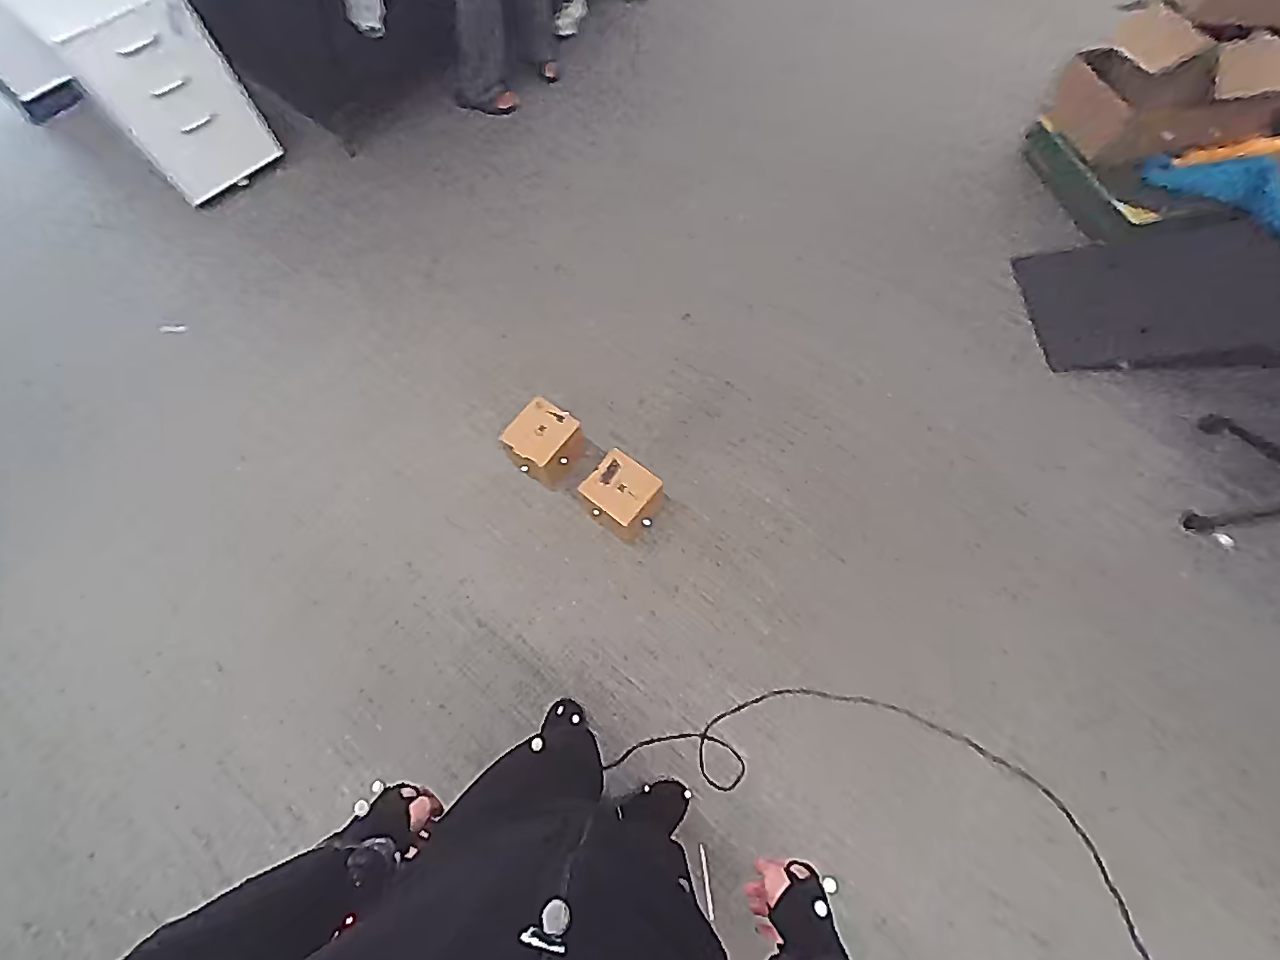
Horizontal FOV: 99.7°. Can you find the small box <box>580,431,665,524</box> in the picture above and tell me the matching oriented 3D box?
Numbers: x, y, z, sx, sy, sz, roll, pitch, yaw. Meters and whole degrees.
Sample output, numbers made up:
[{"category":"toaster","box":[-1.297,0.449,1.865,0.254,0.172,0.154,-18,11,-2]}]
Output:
[{"category":"small box","box":[-0.045,0.000,1.543,0.179,0.176,0.168,41,76,17]}]

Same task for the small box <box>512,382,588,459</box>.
[{"category":"small box","box":[-0.263,-0.173,1.617,0.179,0.176,0.168,5,65,5]}]
